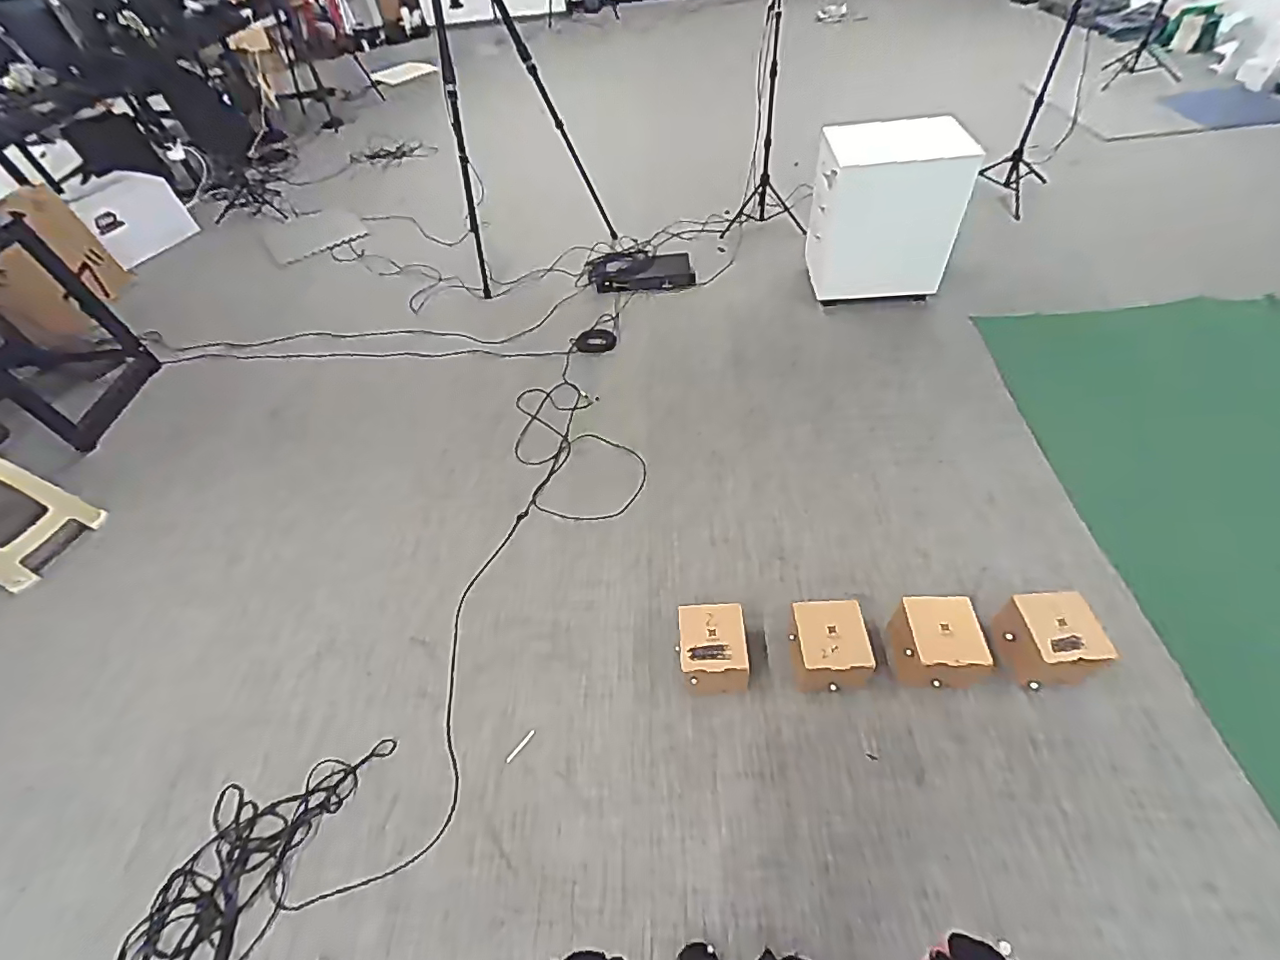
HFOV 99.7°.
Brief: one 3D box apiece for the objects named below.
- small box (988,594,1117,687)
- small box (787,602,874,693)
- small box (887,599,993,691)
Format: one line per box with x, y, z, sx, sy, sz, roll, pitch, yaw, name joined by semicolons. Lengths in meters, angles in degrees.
1.014;0.406;1.348;0.168;0.176;0.179;-4;50;3;small box
0.479;0.431;1.390;0.168;0.176;0.179;-4;51;5;small box
0.747;0.419;1.371;0.168;0.176;0.179;-1;51;5;small box
